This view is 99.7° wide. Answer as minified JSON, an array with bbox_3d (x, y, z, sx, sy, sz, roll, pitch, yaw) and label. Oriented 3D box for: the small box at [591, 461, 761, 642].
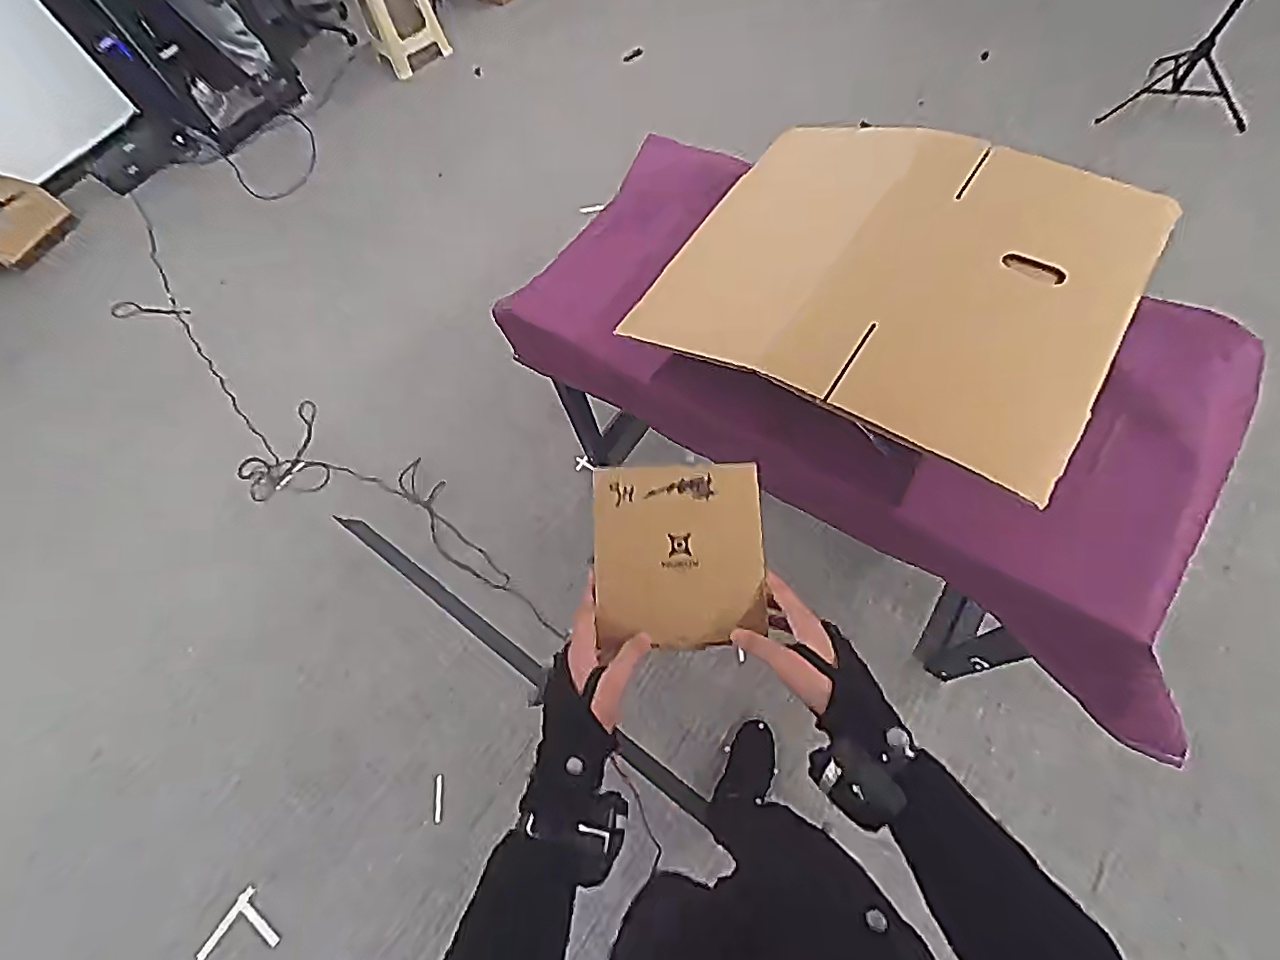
[{"bbox_3d":[0.032,0.077,0.609,0.168,0.176,0.179,-1,82,-3],"label":"small box"}]
